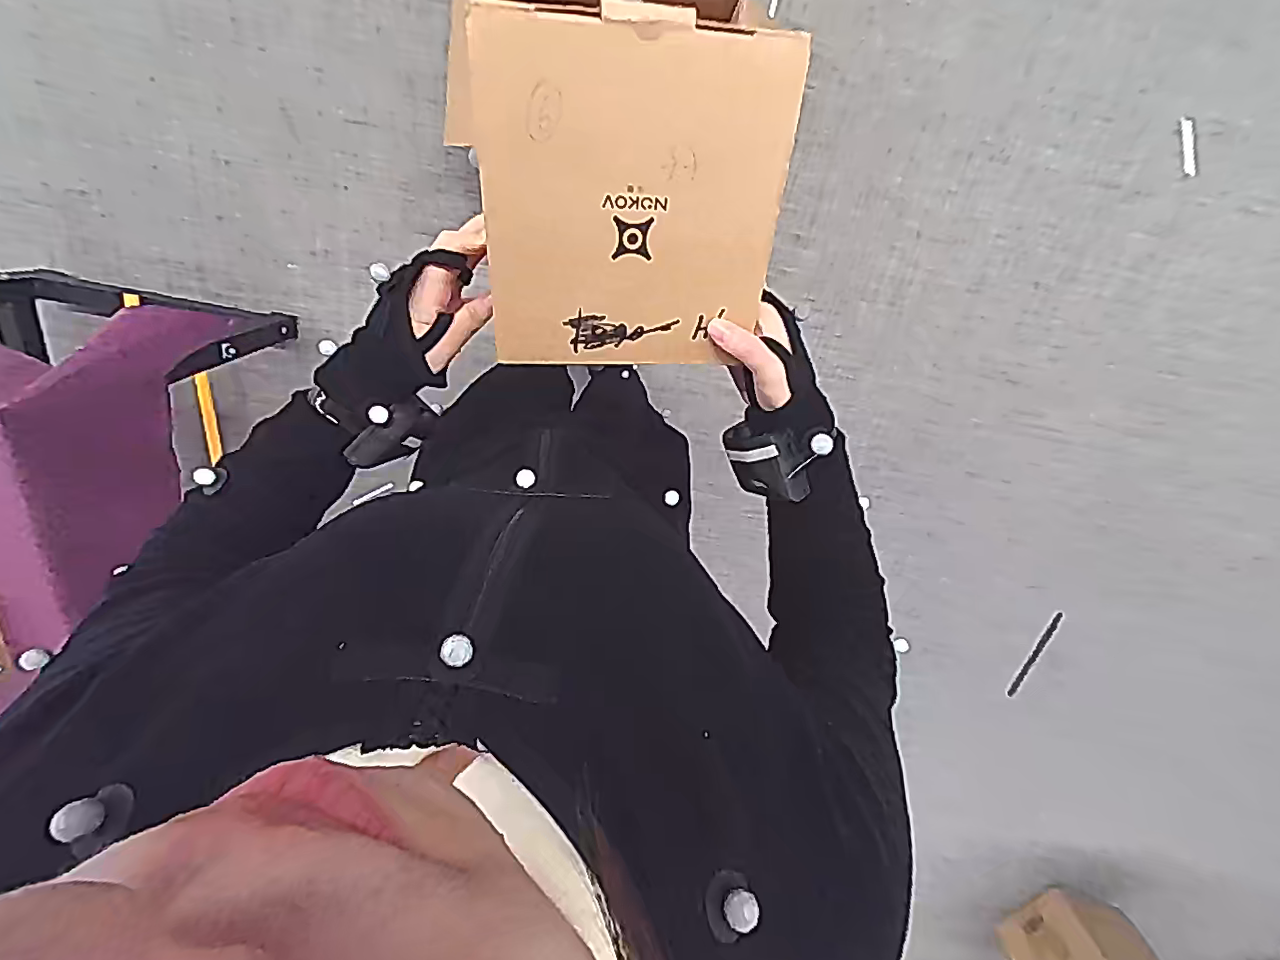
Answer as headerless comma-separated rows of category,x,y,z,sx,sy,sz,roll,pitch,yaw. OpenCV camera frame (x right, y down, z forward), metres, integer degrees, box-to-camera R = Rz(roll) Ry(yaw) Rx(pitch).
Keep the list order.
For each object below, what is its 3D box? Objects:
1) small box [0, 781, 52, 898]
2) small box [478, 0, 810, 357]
small box,-1.183,0.640,0.935,0.179,0.176,0.168,20,113,-11
small box,-0.014,-0.199,0.366,0.168,0.176,0.179,-1,128,-9
